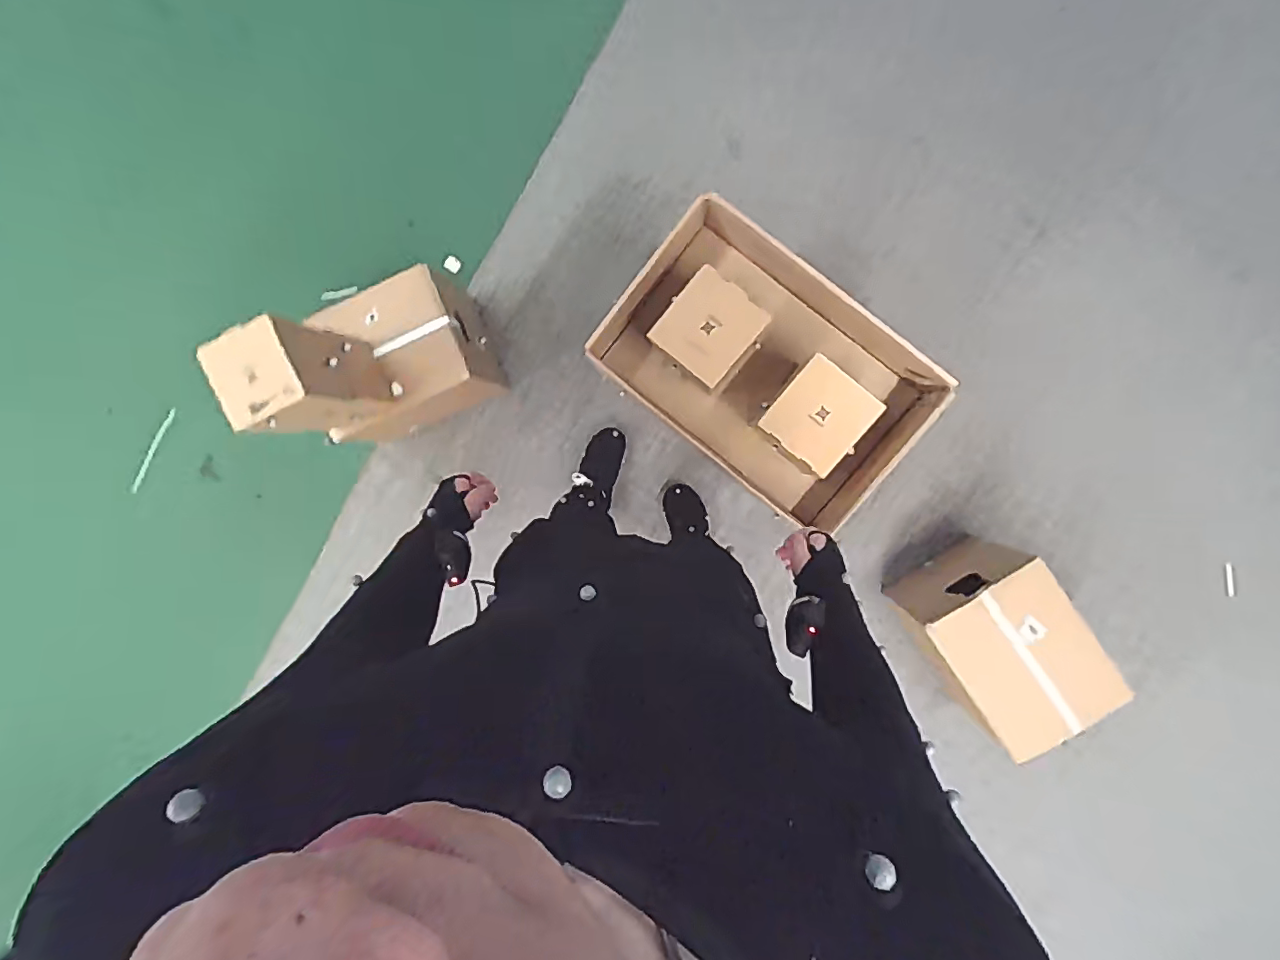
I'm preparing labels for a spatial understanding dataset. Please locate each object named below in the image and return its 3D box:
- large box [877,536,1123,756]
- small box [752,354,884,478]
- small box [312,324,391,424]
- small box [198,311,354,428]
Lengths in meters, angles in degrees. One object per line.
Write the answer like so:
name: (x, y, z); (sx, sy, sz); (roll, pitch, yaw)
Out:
large box: (0.917, 0.415, 1.436); (0.320, 0.320, 0.408); (-34, 90, 6)
small box: (0.345, -0.127, 1.090); (0.168, 0.176, 0.179); (40, 98, 1)
small box: (-0.727, -0.240, 1.272); (0.168, 0.176, 0.179); (-23, 93, 6)
small box: (-0.735, -0.217, 1.110); (0.168, 0.176, 0.179); (-23, 92, 6)
